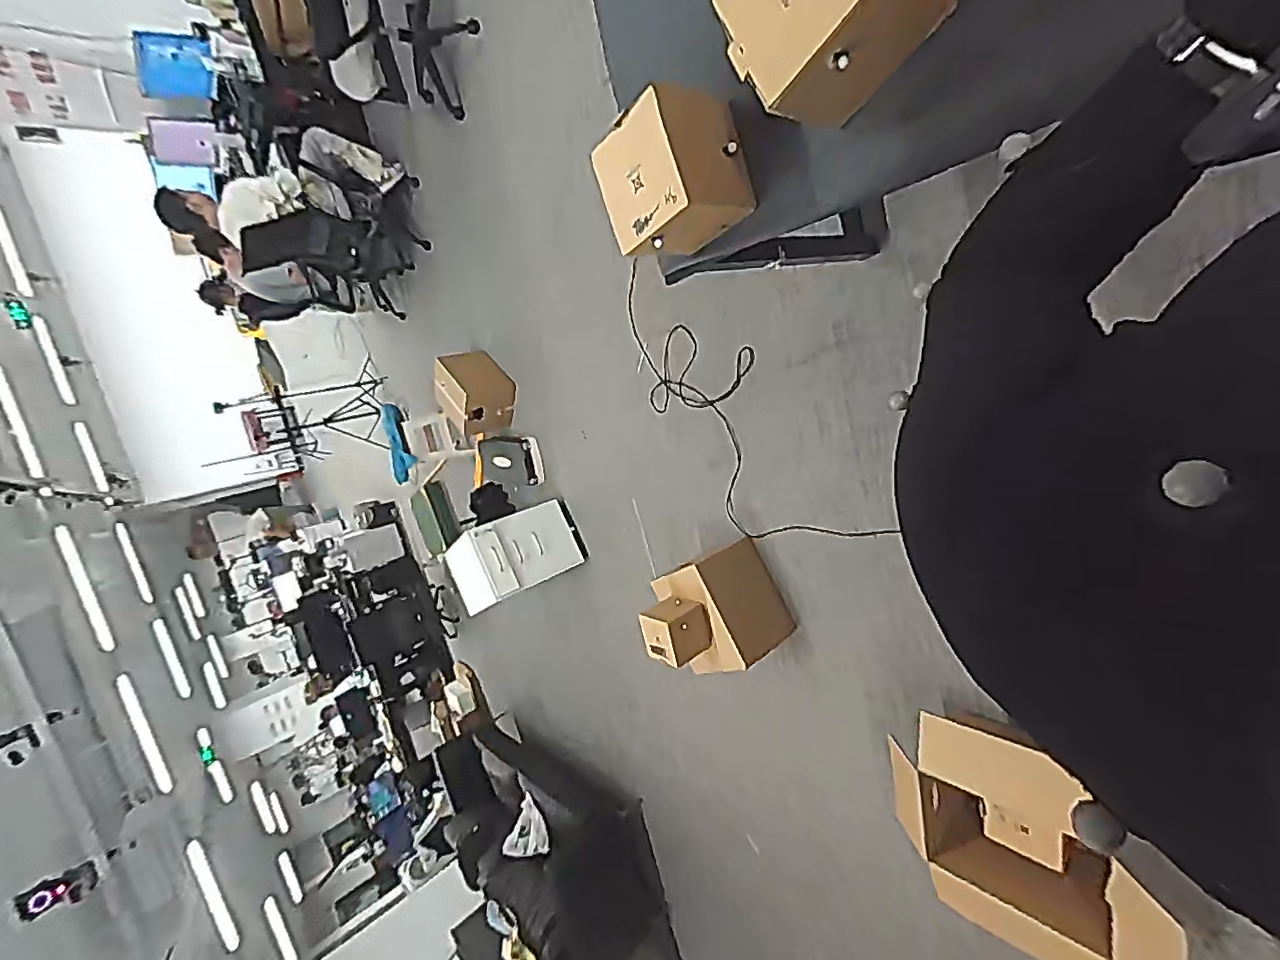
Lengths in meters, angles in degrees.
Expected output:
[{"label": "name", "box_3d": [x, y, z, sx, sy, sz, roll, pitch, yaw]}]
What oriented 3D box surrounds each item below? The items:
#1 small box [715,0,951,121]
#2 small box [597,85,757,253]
[{"label": "small box", "box_3d": [0.228, -0.567, 0.642, 0.179, 0.176, 0.168, -31, 82, 52]}, {"label": "small box", "box_3d": [0.062, -0.491, 0.884, 0.168, 0.176, 0.179, -14, 95, 53]}]
